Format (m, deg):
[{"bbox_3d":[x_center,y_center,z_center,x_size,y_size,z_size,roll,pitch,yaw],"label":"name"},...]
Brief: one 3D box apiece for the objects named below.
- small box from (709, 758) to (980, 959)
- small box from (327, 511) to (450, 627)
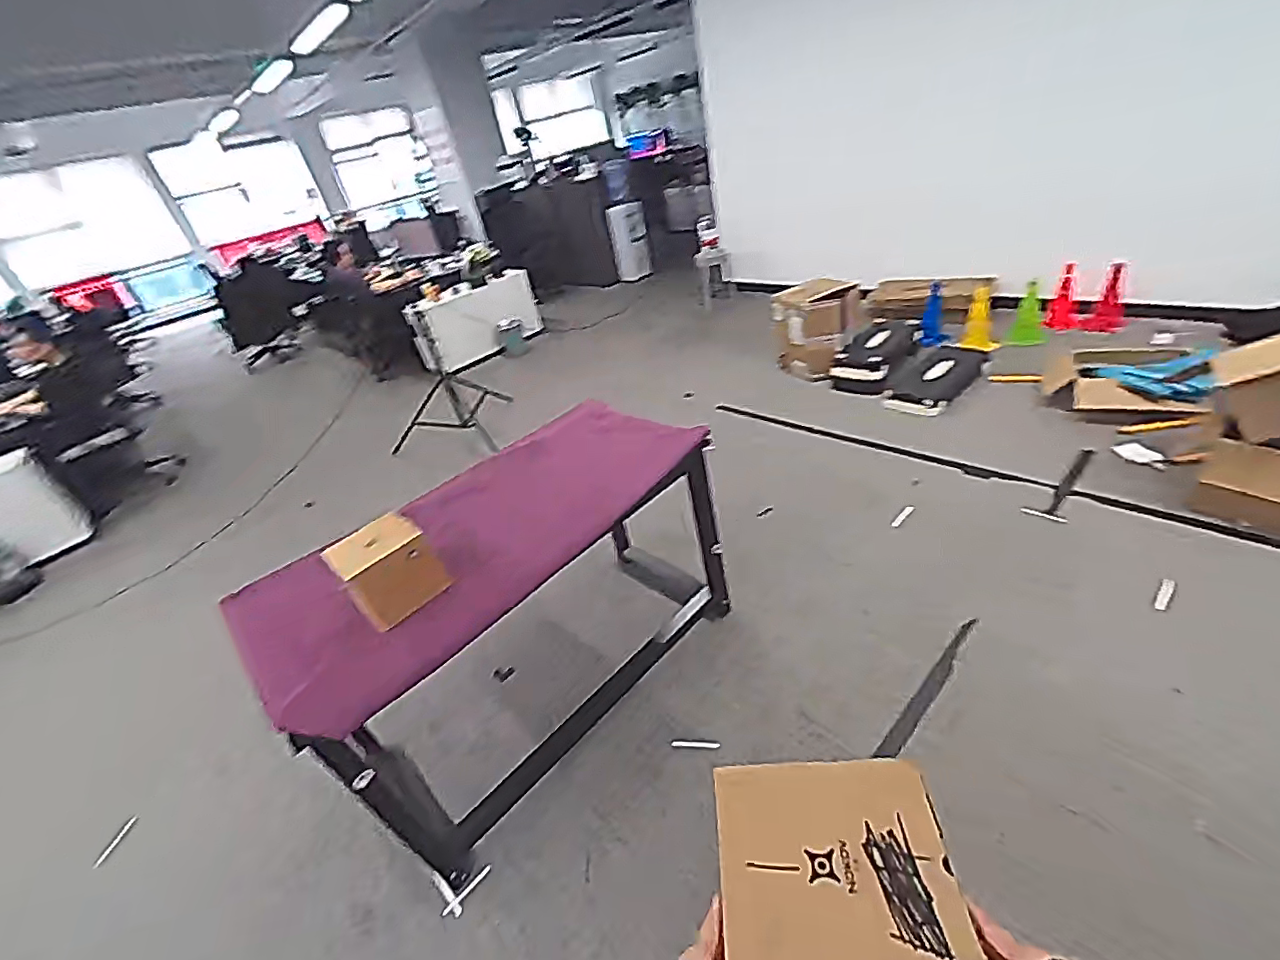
[{"bbox_3d":[0.157,0.362,0.458,0.179,0.176,0.168,-8,32,9],"label":"small box"},{"bbox_3d":[-0.574,0.205,1.251,0.168,0.176,0.179,20,45,40],"label":"small box"}]
